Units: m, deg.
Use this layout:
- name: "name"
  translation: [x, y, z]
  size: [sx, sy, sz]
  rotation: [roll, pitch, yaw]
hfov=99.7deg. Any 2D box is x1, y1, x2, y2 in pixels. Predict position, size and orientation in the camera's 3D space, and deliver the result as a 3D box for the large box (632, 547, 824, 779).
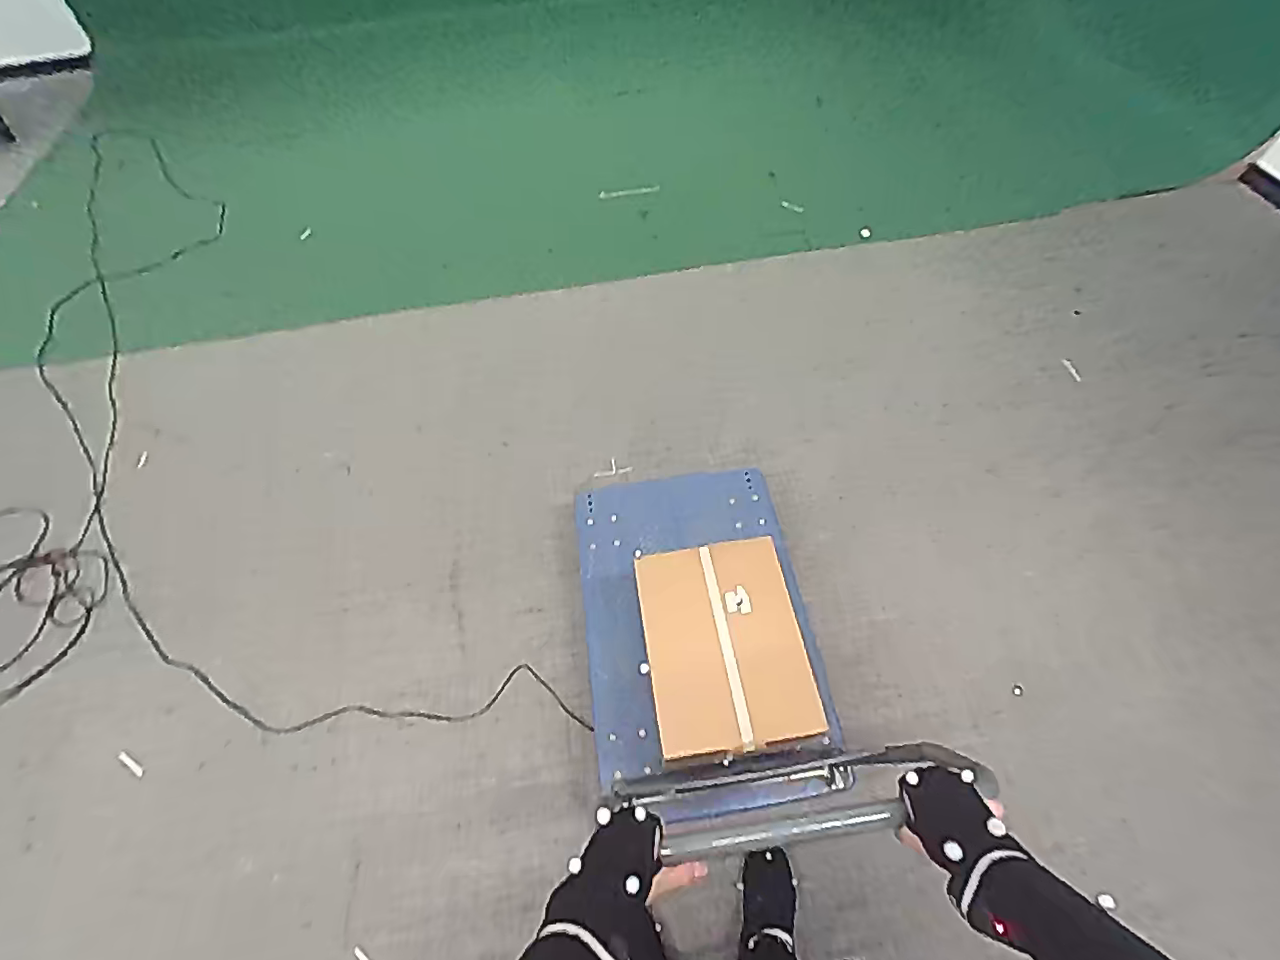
- name: "large box"
  translation: [0.173, 0.418, 1.228]
  size: [0.320, 0.320, 0.408]
  rotation: [-8, 57, -3]
